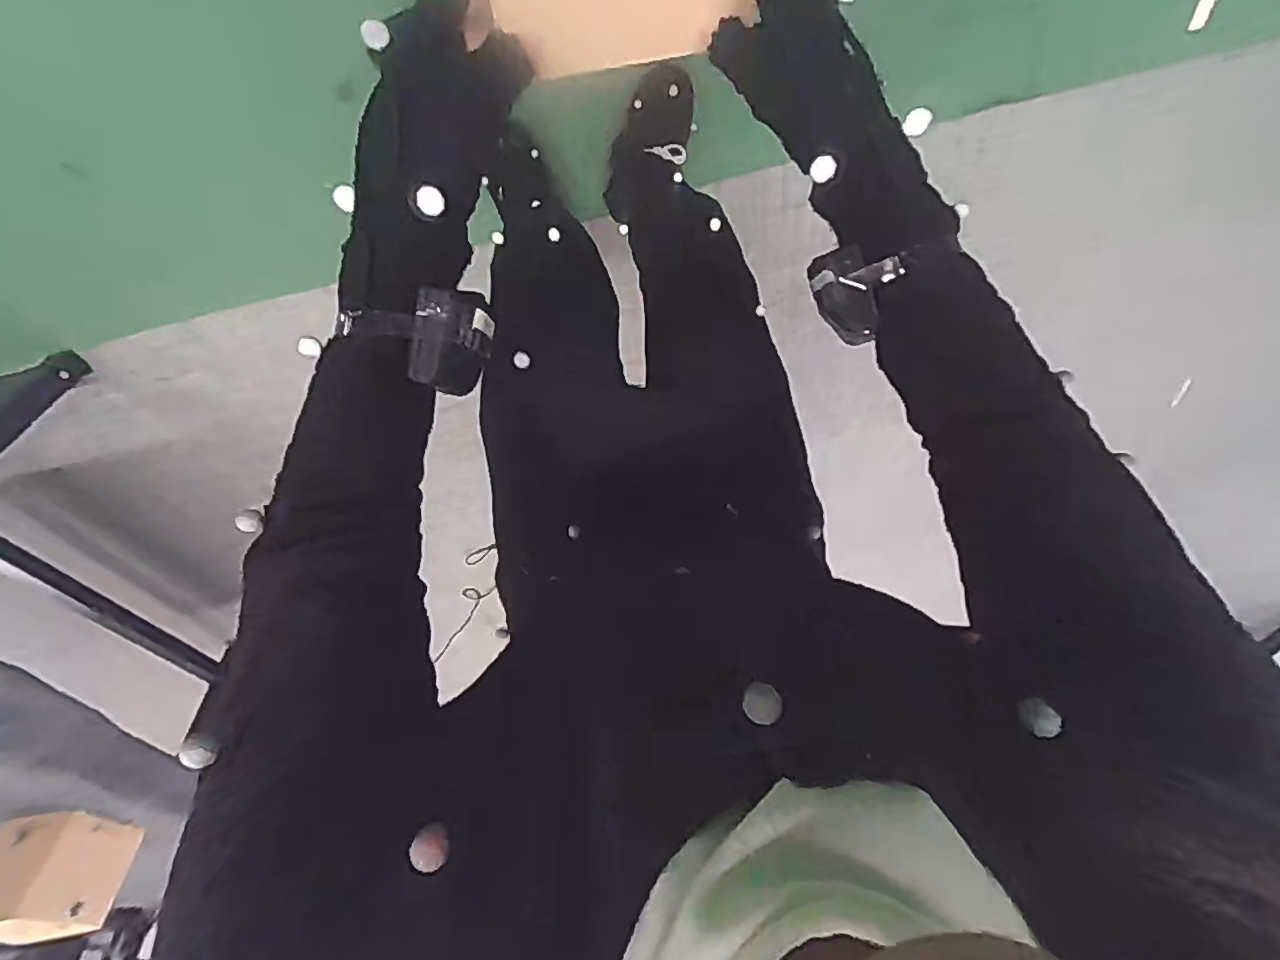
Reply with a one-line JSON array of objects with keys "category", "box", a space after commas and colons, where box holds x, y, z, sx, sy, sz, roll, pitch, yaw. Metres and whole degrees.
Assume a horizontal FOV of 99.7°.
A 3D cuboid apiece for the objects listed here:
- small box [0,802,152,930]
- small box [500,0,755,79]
[{"category": "small box", "box": [-1.117, 0.743, 1.042, 0.179, 0.176, 0.168, -12, 135, 6]}, {"category": "small box", "box": [-0.027, -0.399, 0.362, 0.168, 0.176, 0.179, -12, 135, -1]}]
